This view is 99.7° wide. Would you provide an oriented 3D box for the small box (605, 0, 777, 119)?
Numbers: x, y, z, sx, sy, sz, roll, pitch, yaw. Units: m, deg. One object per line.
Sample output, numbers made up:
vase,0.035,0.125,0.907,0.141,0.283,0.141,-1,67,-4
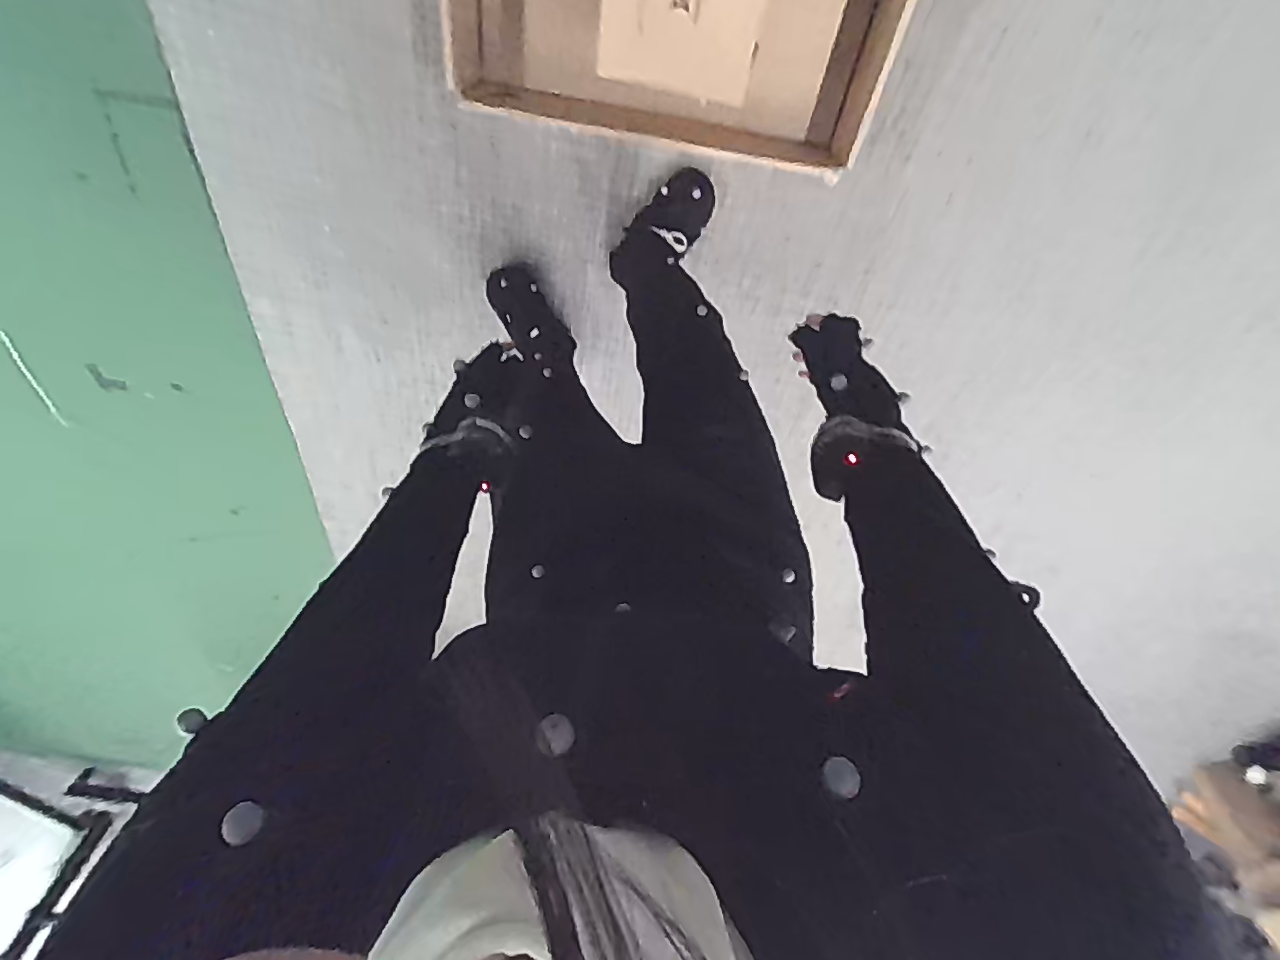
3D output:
small box,0.057,-0.545,0.633,0.179,0.176,0.168,6,132,-1
